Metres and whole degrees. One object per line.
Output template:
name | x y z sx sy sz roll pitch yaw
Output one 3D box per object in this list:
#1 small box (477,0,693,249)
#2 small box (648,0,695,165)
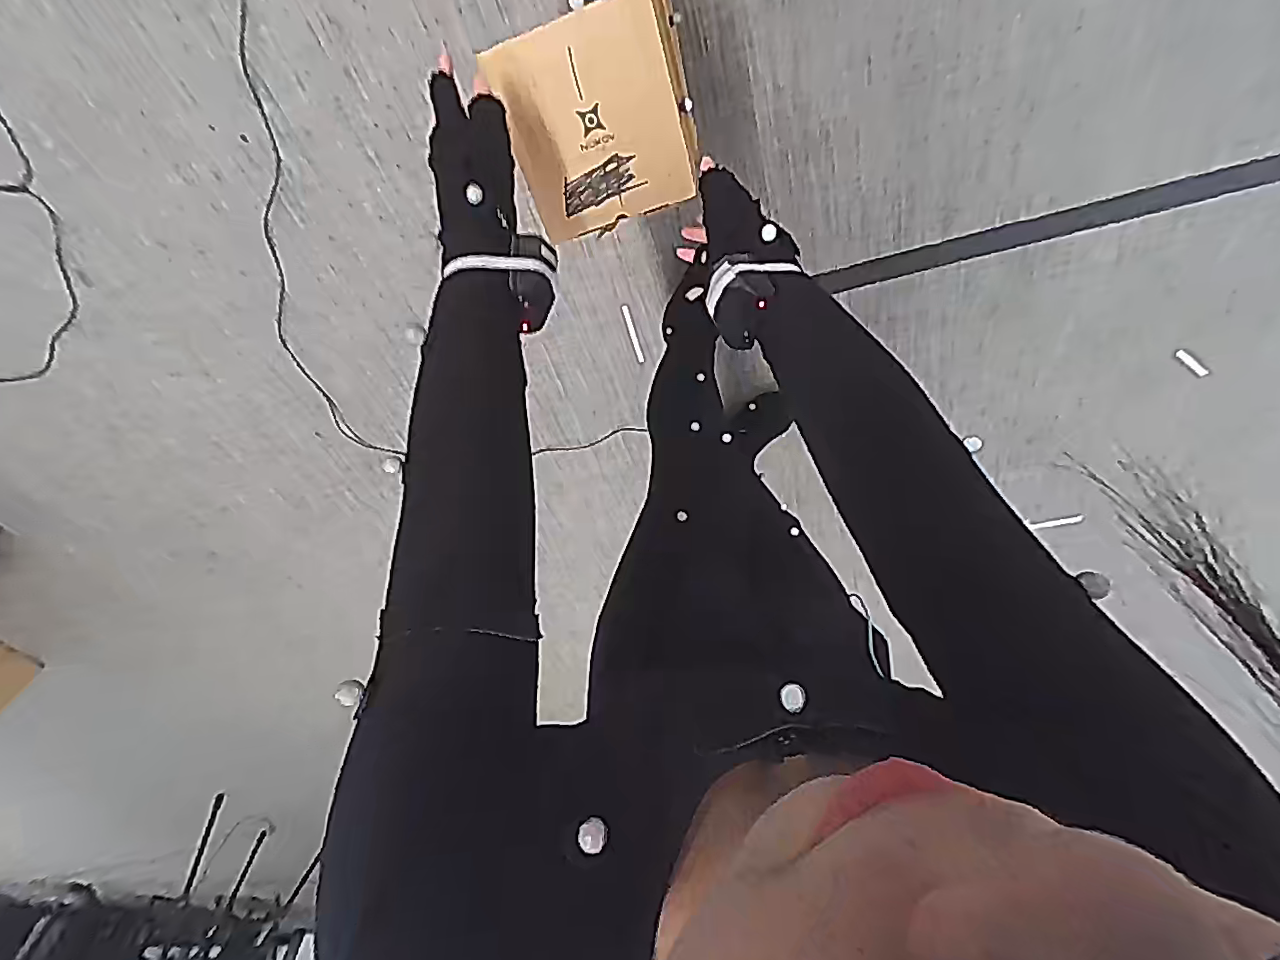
small box | -0.041 -0.384 0.581 0.168 0.176 0.179 -12 129 14
small box | -0.028 -0.495 0.701 0.168 0.176 0.179 -13 130 15
